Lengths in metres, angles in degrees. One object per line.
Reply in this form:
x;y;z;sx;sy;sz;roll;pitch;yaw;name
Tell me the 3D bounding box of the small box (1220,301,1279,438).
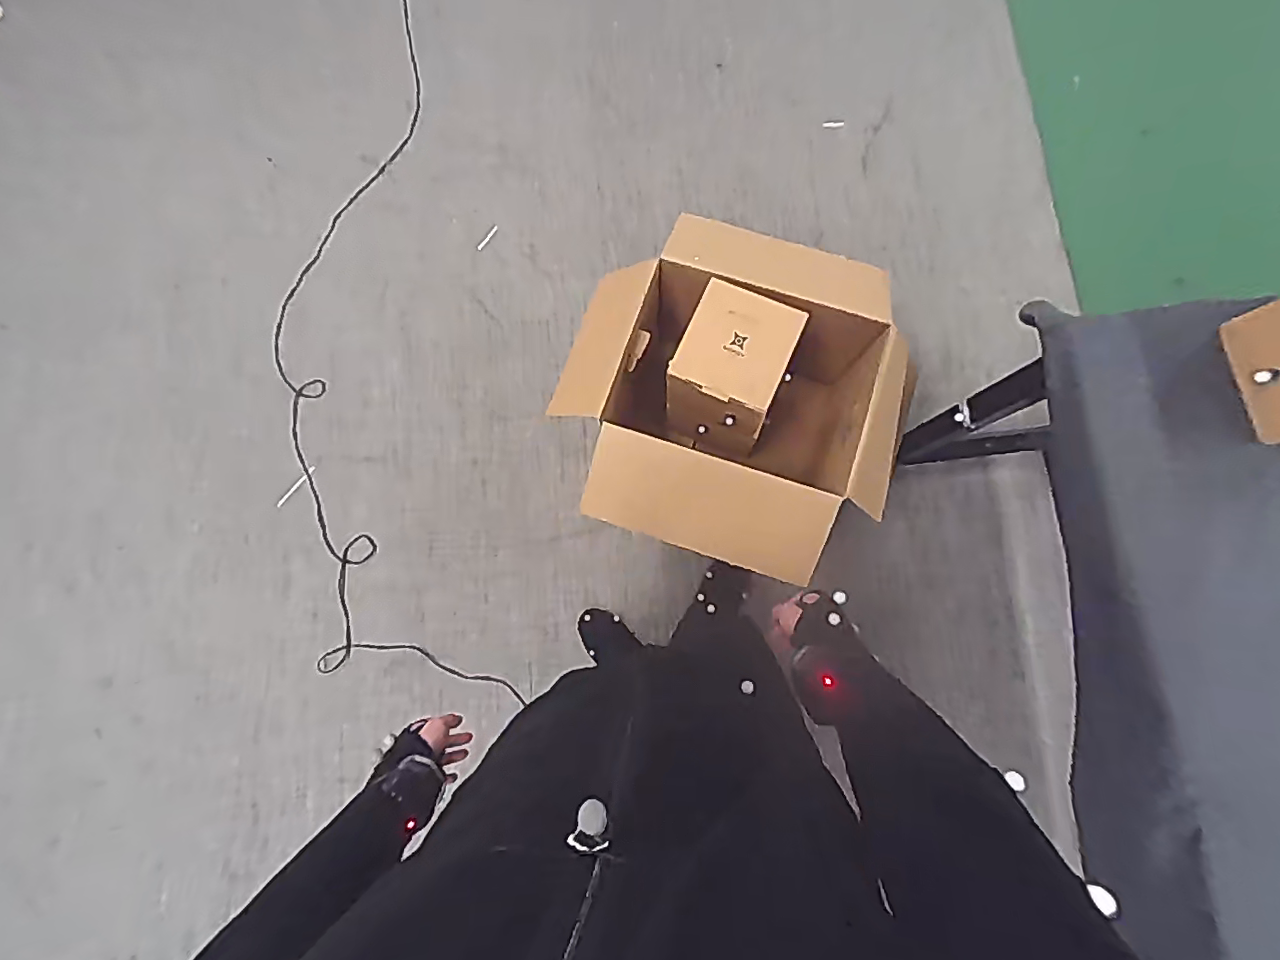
0.892;-0.155;0.658;0.168;0.176;0.179;-11;81;-1;small box
